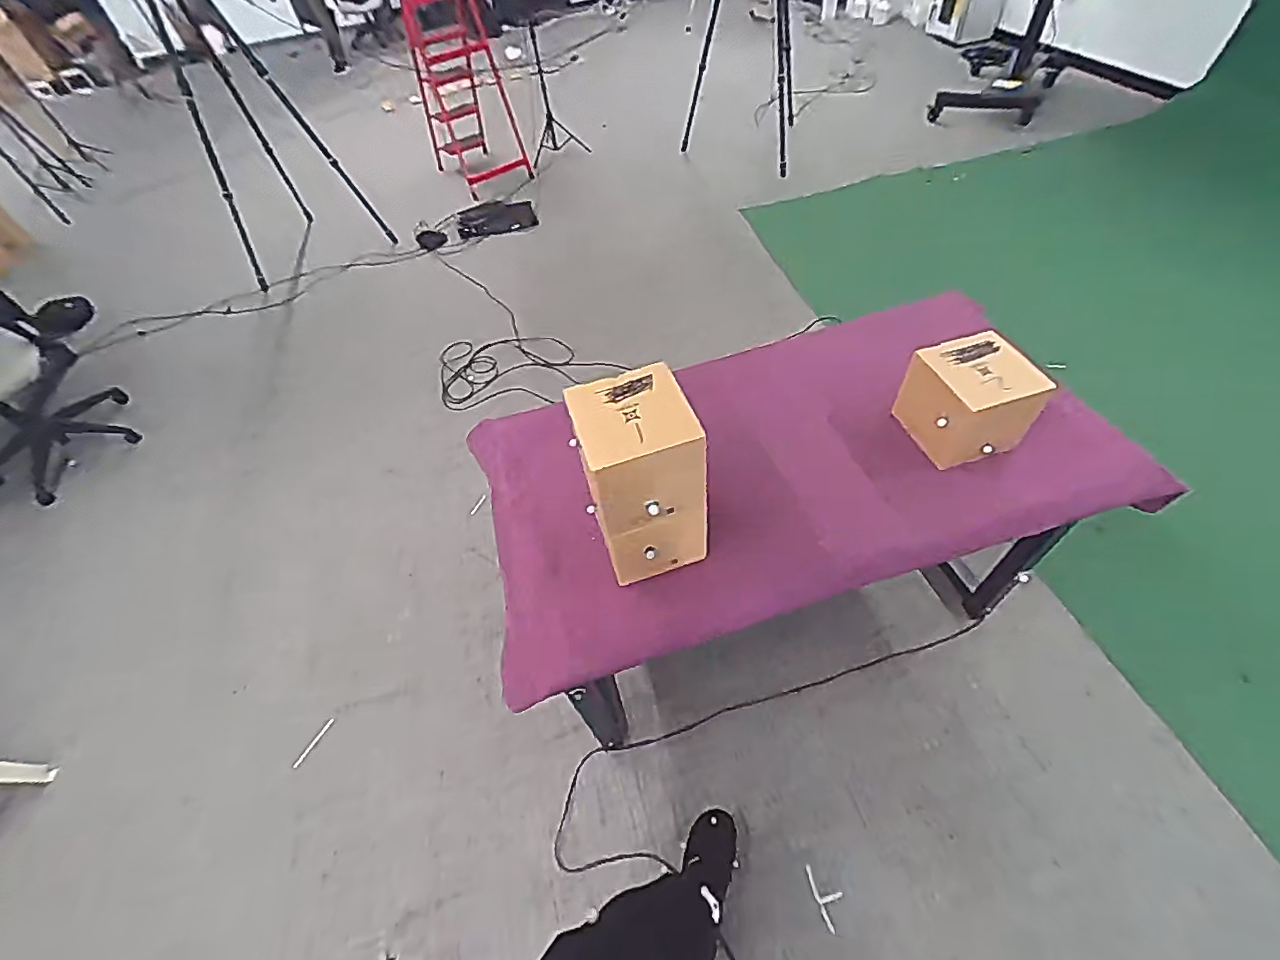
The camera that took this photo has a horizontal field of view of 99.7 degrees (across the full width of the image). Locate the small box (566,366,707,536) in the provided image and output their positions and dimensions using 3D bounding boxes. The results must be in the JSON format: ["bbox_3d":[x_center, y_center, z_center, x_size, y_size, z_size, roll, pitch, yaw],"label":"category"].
[{"bbox_3d":[-0.005,-0.043,0.836,0.168,0.176,0.179,-17,52,-7],"label":"small box"}]

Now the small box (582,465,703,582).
[{"bbox_3d":[0.008,0.062,0.962,0.168,0.176,0.179,-17,51,-8],"label":"small box"}]
